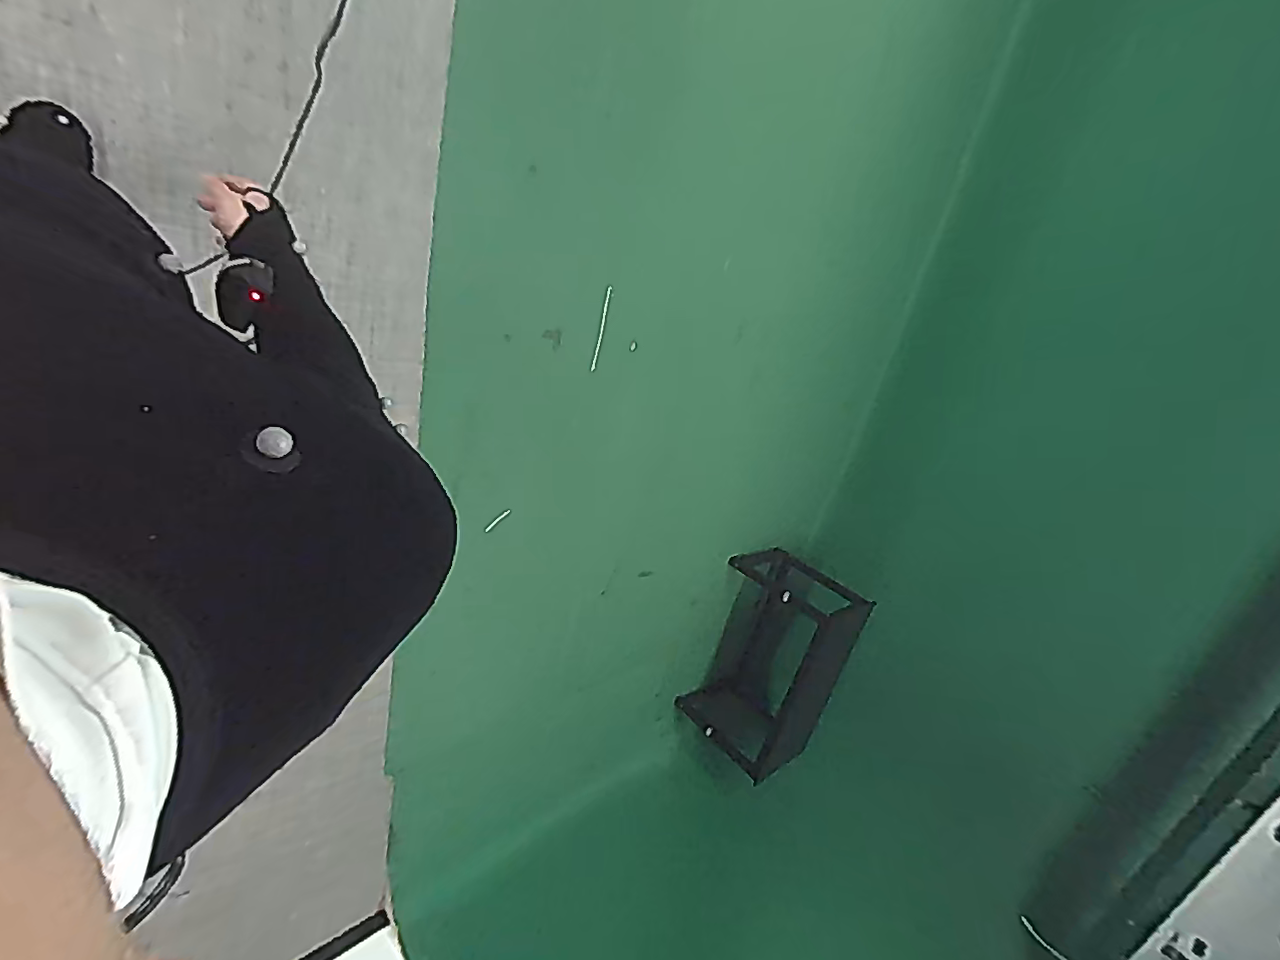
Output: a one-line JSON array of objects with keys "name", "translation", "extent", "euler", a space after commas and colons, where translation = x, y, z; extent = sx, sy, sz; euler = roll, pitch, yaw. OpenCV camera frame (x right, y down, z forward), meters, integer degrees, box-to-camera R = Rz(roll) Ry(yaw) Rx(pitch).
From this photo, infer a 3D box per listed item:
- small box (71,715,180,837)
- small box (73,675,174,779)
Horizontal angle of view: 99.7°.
[{"name": "small box", "translation": [-1.252, 0.708, 1.315], "extent": [0.179, 0.176, 0.168], "euler": [4, 112, -47]}, {"name": "small box", "translation": [-1.360, 0.646, 1.424], "extent": [0.179, 0.176, 0.168], "euler": [5, 112, -47]}]
